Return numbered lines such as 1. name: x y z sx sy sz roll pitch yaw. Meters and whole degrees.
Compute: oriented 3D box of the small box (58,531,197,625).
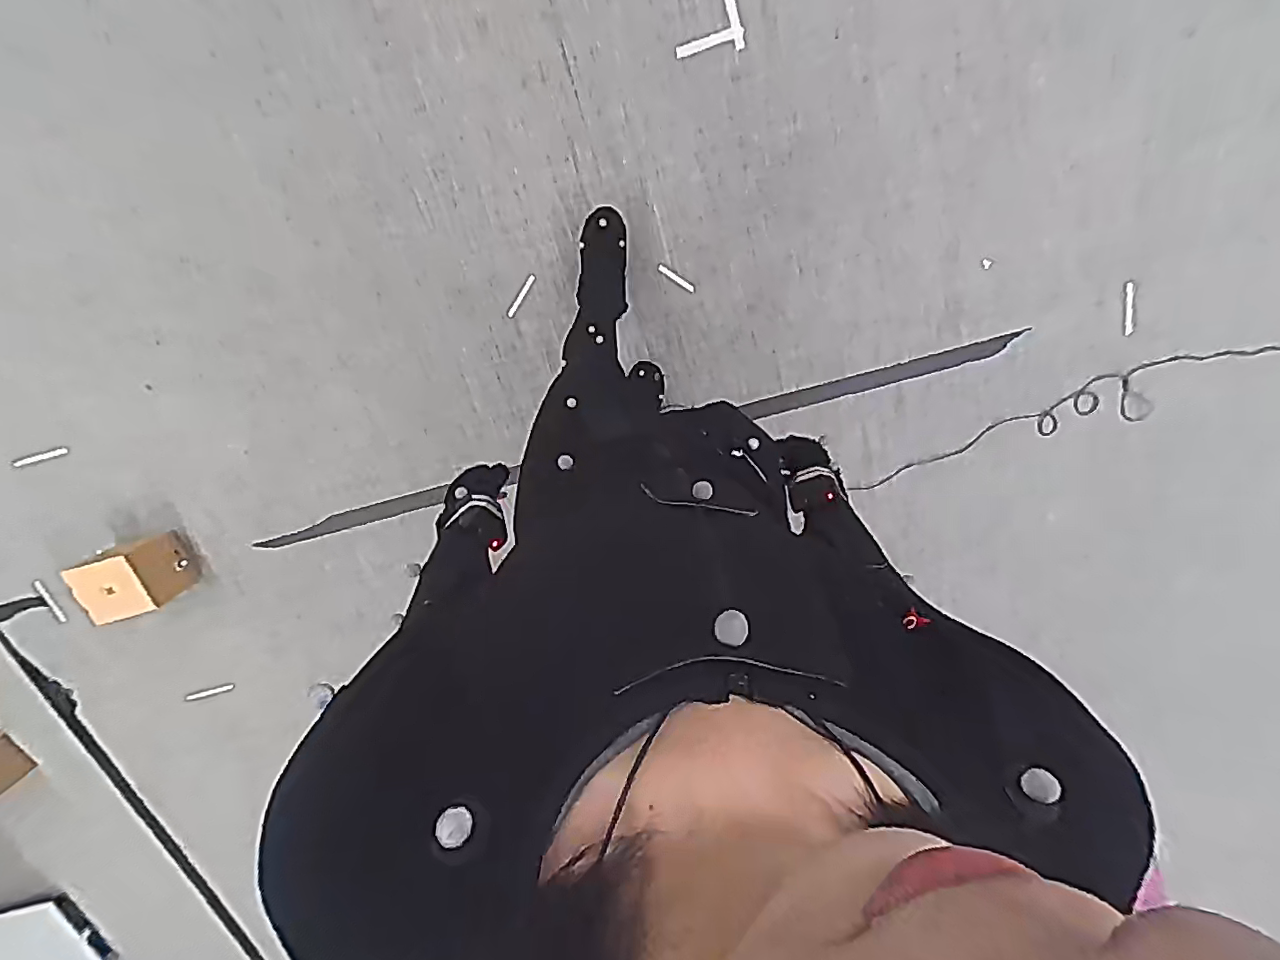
1. small box: -1.365 0.258 1.455 0.179 0.176 0.168 -16 108 1
